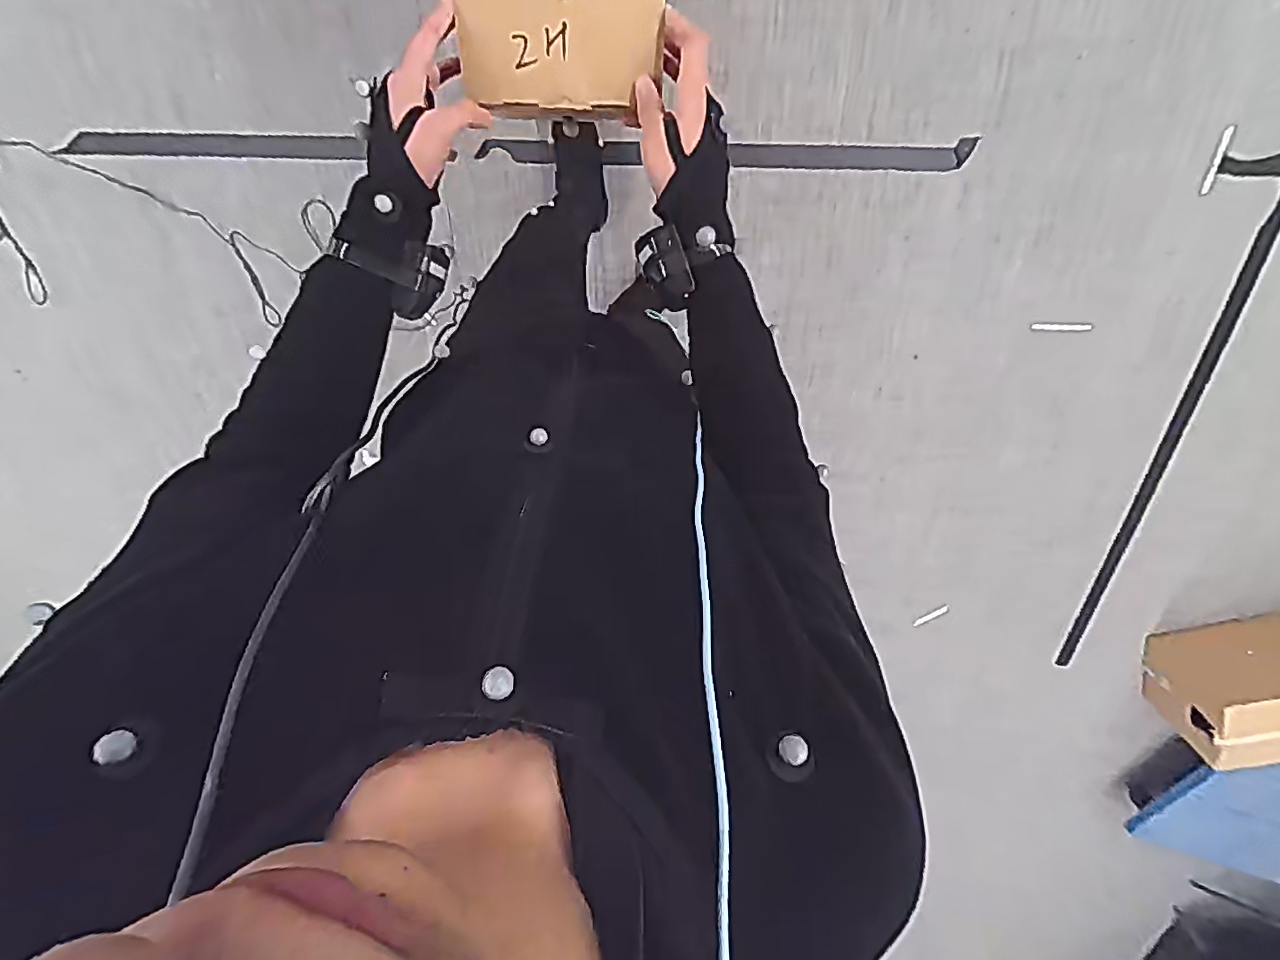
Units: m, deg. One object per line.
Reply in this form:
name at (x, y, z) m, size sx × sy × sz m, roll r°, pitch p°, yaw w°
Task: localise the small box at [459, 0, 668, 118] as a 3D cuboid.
small box at (-0.063, -0.434, 0.478) m, size 0.168 × 0.176 × 0.179 m, roll 0°, pitch 121°, yaw -3°
